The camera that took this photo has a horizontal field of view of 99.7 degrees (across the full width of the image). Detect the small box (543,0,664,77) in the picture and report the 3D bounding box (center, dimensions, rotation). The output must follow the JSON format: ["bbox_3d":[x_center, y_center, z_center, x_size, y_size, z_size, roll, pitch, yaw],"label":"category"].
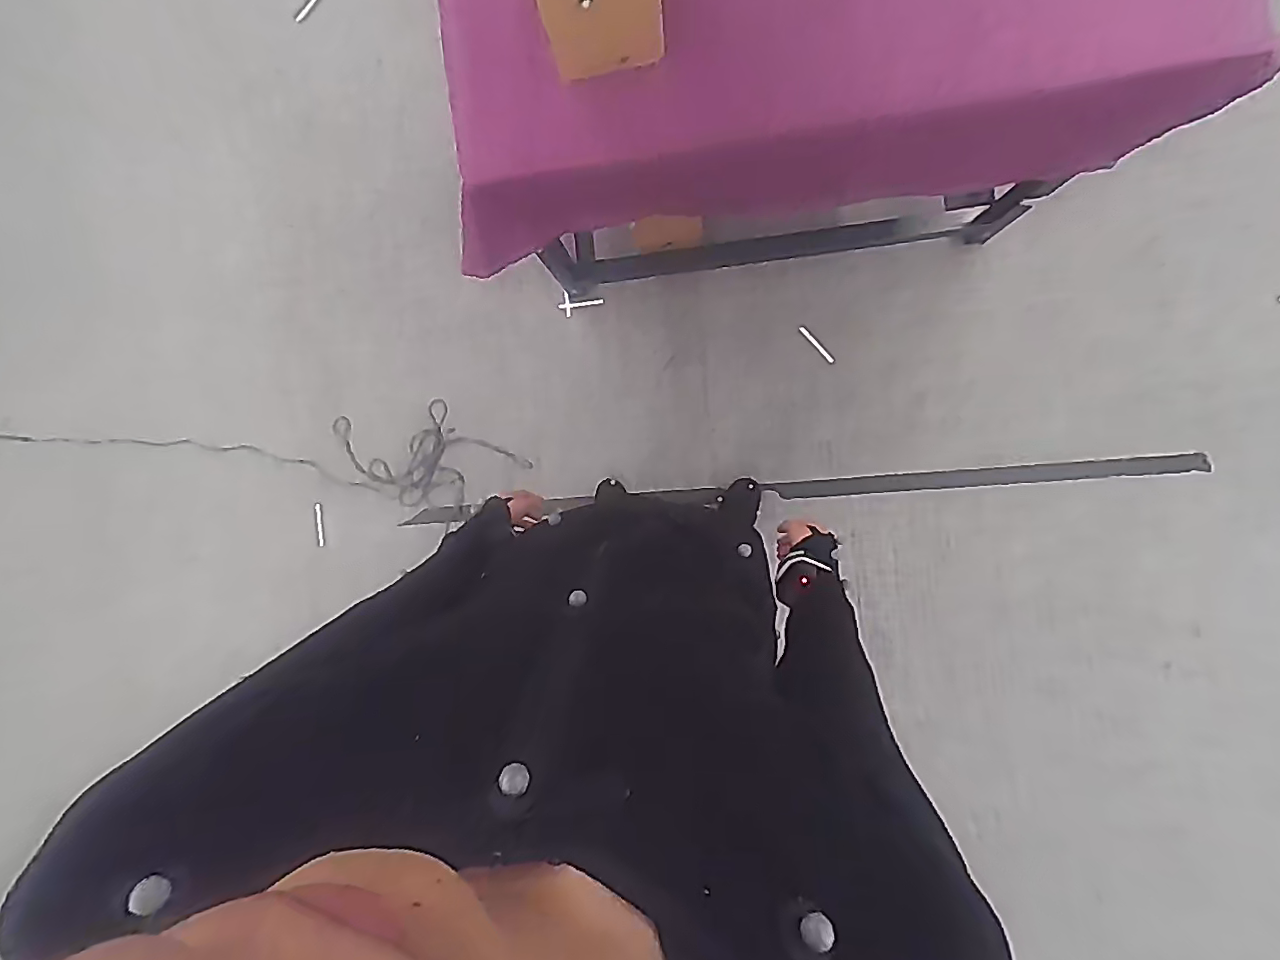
[{"bbox_3d":[-0.058,-0.738,0.780,0.168,0.176,0.179,-7,91,6],"label":"small box"}]
